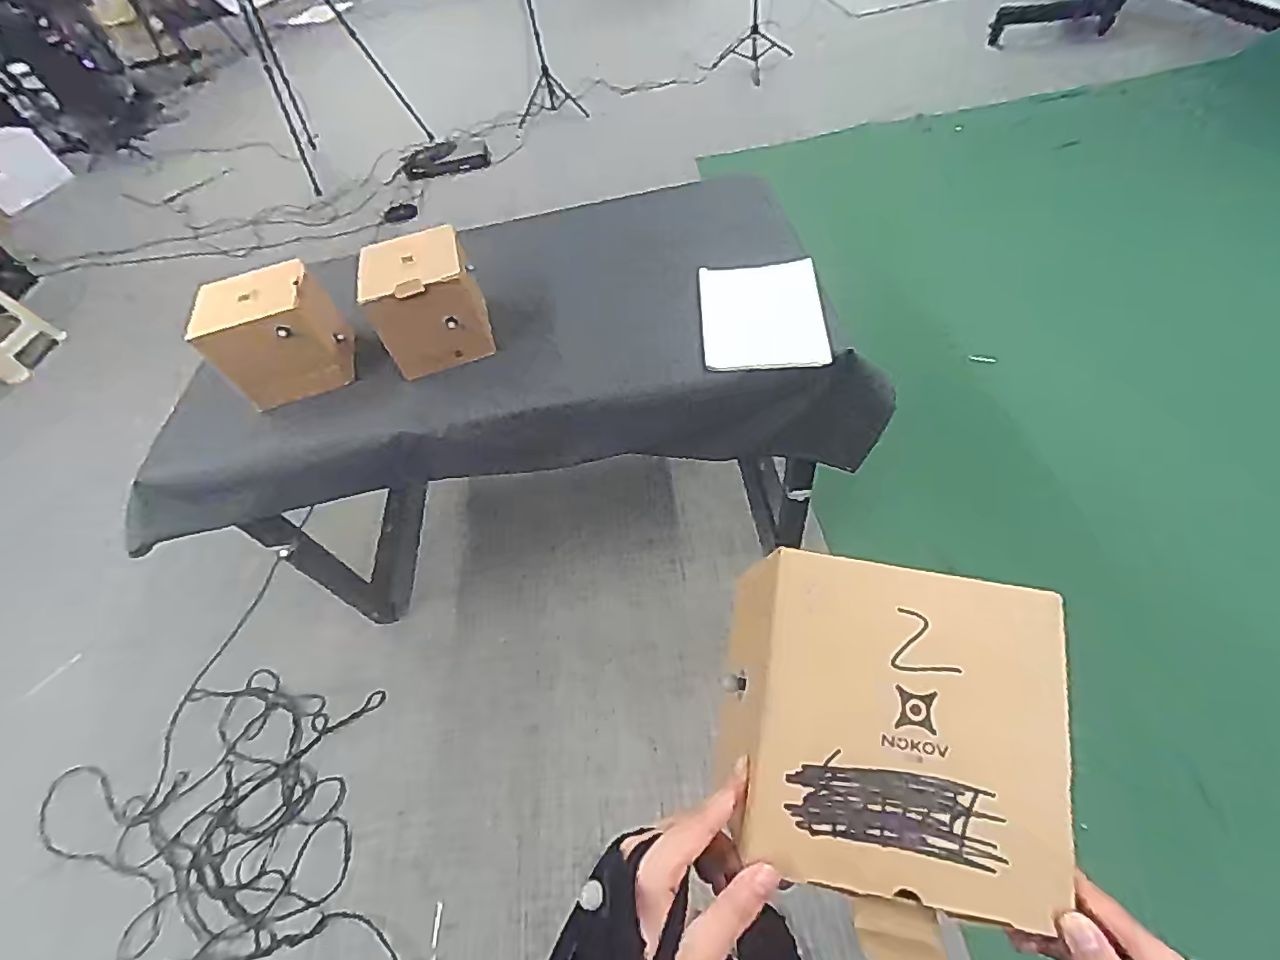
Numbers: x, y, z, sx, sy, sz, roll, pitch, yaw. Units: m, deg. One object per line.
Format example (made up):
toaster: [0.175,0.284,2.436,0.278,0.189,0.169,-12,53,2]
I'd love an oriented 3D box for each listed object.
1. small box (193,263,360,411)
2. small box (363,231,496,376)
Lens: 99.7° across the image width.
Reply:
small box: [-0.632,-0.249,0.963,0.179,0.176,0.168,-19,52,-5]
small box: [-0.366,-0.305,0.960,0.168,0.176,0.179,-17,51,-5]
